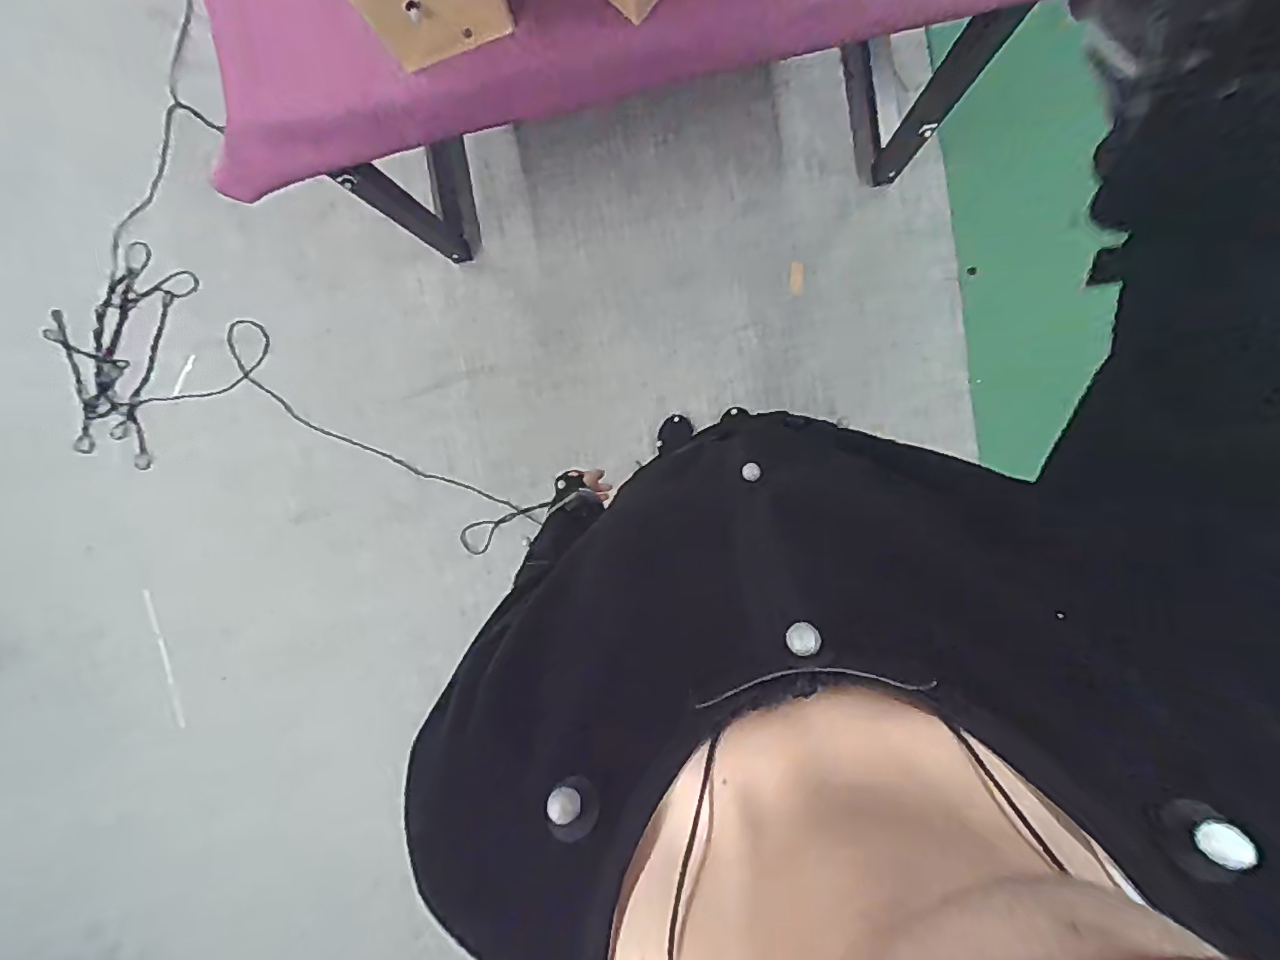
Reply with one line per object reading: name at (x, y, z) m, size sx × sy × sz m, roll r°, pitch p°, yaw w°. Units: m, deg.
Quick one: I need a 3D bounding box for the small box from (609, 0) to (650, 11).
small box at (-0.019, -0.717, 0.635) m, size 0.179 × 0.176 × 0.168 m, roll 44°, pitch 97°, yaw 1°

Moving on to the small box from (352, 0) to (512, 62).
small box at (-0.277, -0.668, 0.668) m, size 0.168 × 0.176 × 0.179 m, roll -16°, pitch 92°, yaw 7°
